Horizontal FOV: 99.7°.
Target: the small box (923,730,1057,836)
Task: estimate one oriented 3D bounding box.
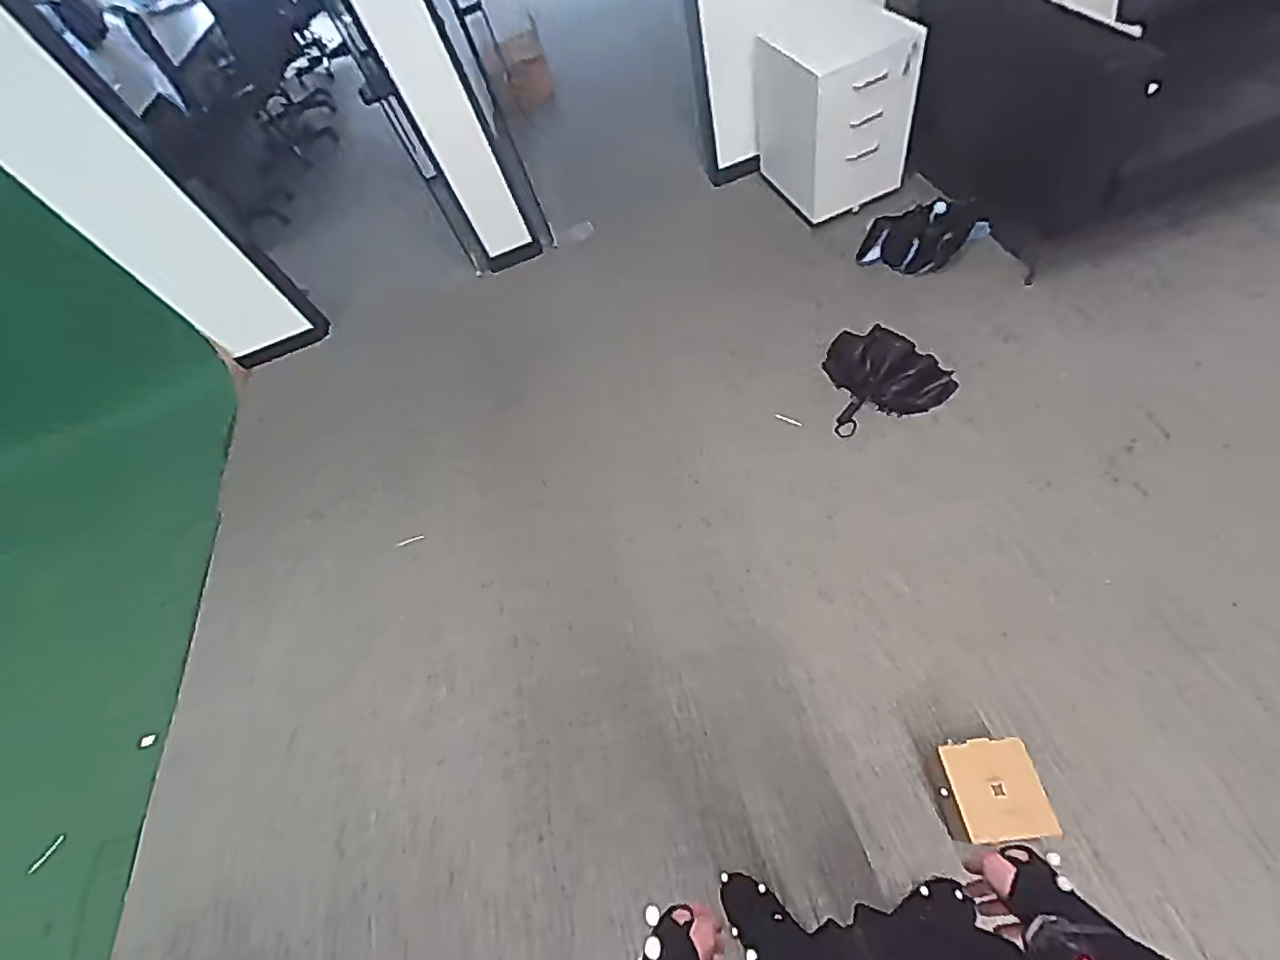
[{"bbox_3d":[0.731,0.649,1.155,0.168,0.176,0.179,-13,57,10],"label":"small box"}]
